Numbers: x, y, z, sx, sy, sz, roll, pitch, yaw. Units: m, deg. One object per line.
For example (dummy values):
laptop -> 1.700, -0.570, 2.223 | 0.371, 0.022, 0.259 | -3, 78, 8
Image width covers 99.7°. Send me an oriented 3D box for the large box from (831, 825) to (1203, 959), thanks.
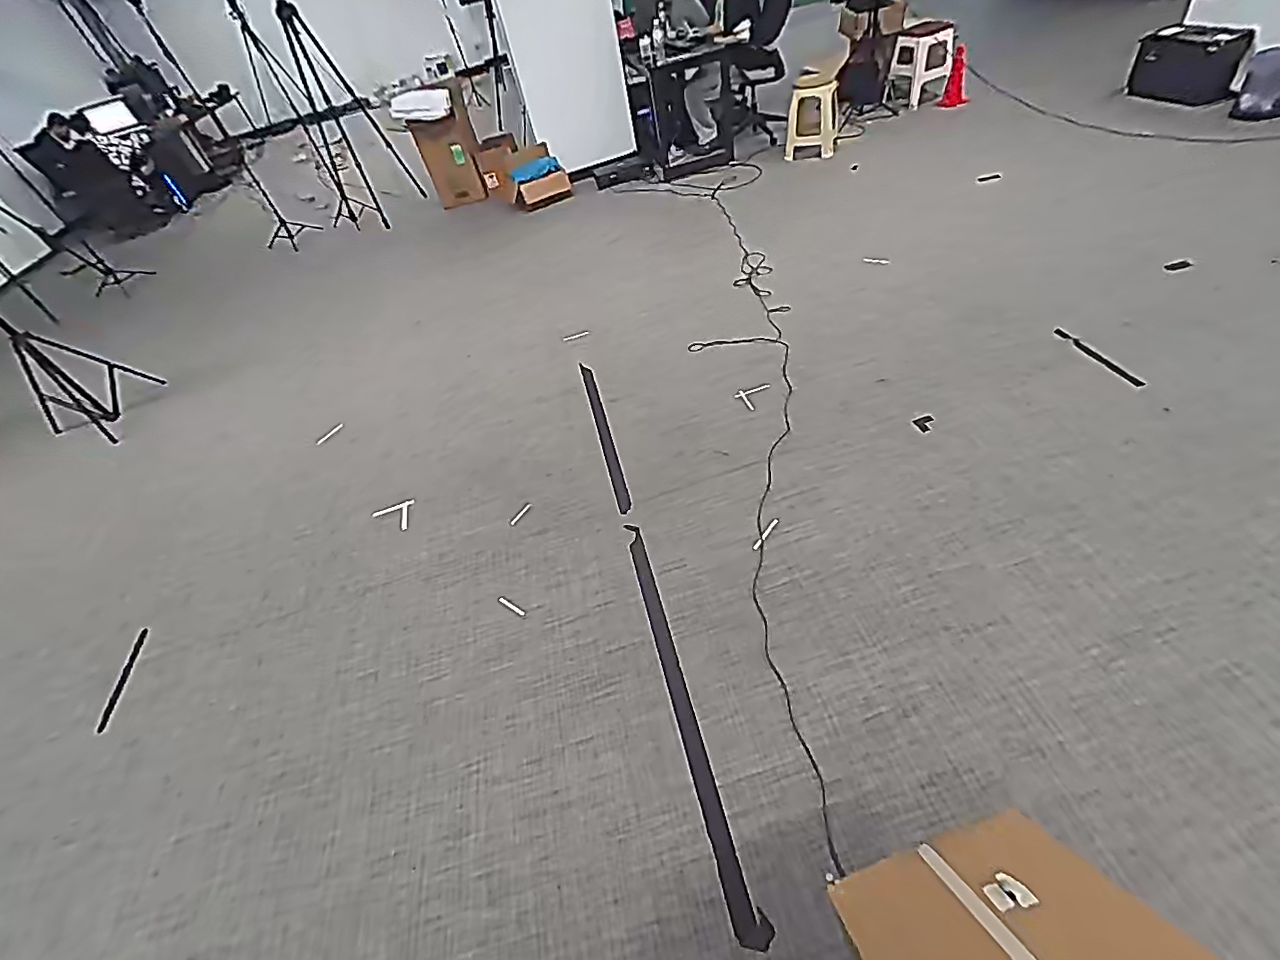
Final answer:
large box -> 0.479, 0.688, 0.600 | 0.320, 0.408, 0.320 | -18, 83, -2
